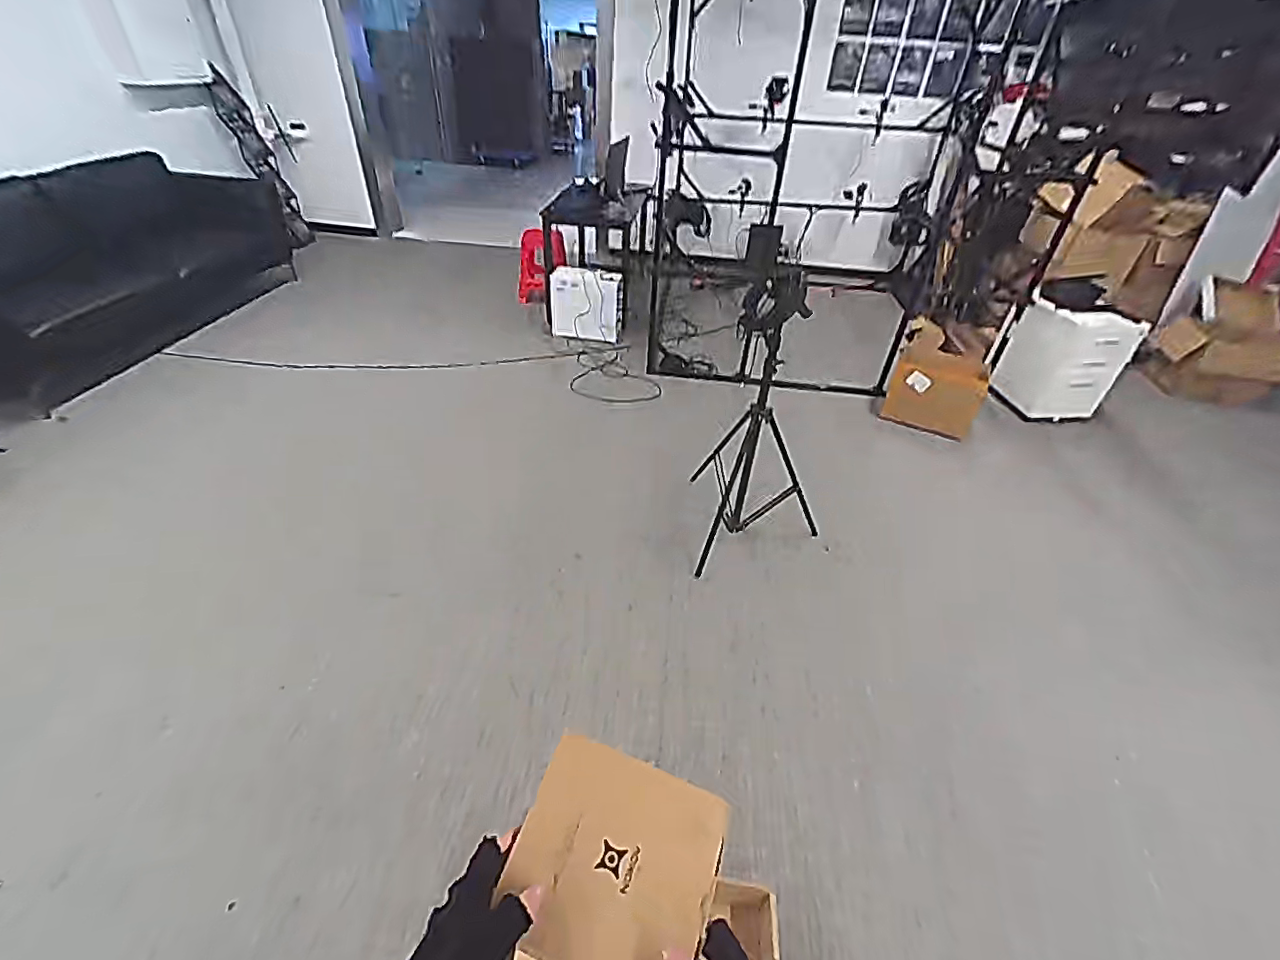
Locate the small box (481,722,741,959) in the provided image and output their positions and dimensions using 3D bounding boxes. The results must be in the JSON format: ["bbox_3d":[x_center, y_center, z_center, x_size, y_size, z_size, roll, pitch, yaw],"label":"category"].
[{"bbox_3d":[-0.024,0.363,0.516,0.179,0.176,0.168,20,52,8],"label":"small box"}]
